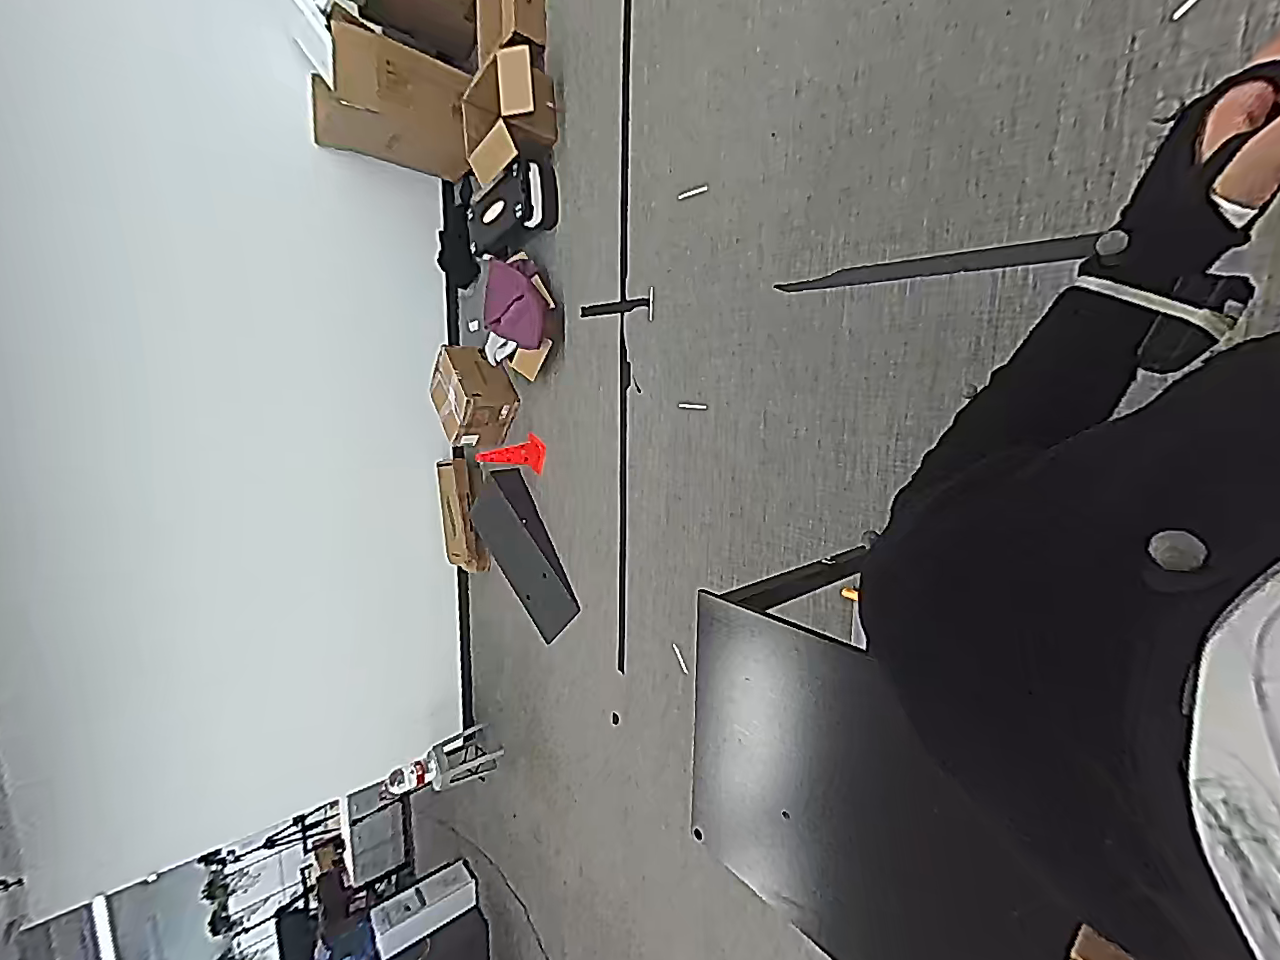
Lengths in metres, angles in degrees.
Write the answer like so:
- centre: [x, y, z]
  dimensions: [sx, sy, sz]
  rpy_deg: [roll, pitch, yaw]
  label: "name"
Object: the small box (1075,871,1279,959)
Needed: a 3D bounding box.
- centre: [0.563, 0.561, 0.554]
  dimensions: [0.168, 0.176, 0.179]
  rpy_deg: [5, 99, 51]
  label: "small box"
